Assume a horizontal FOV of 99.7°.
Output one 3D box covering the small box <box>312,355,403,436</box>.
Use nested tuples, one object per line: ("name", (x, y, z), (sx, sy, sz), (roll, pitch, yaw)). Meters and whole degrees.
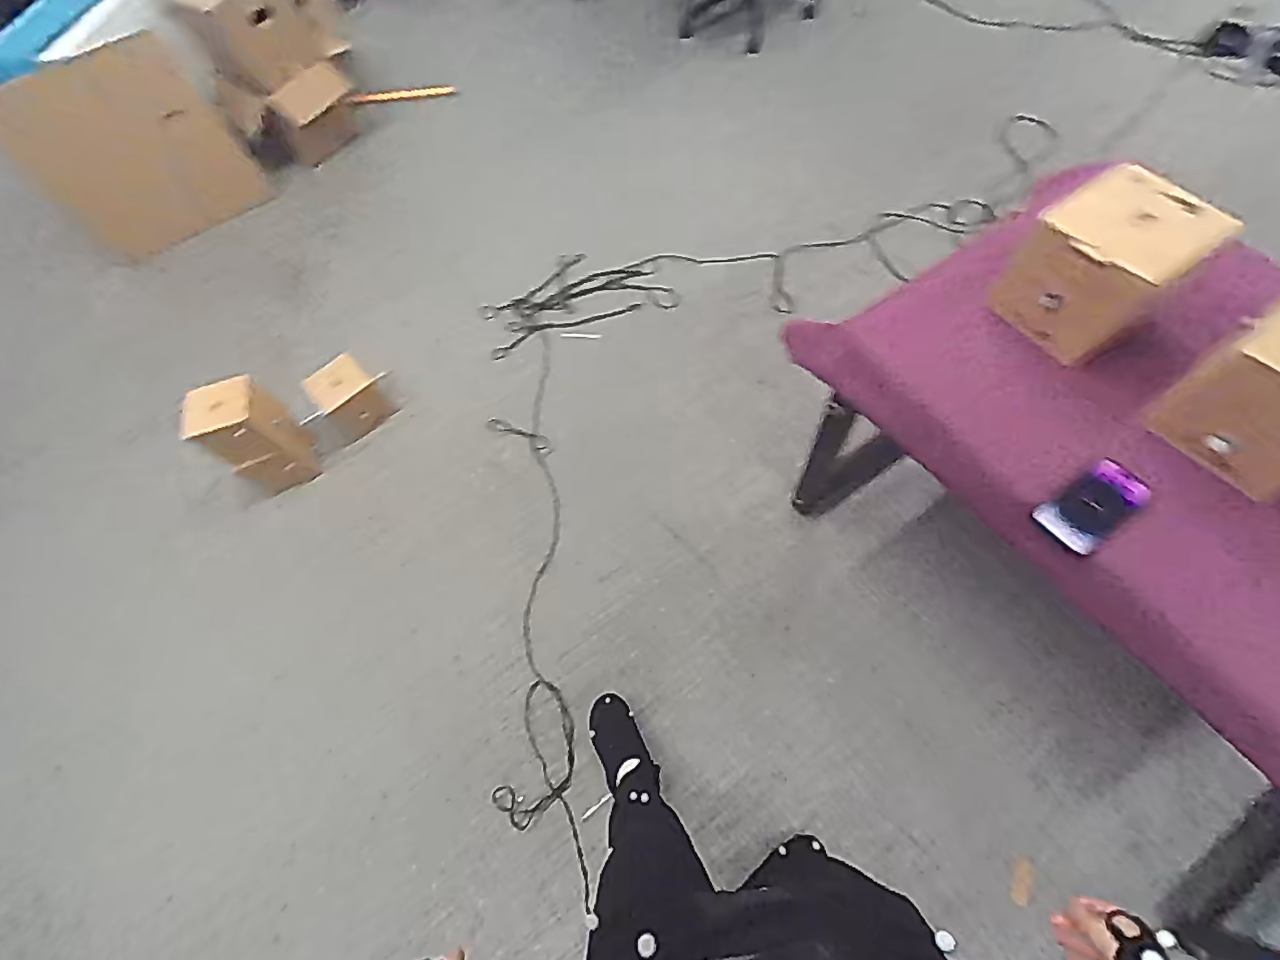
("small box", (-0.917, -0.267, 1.770), (0.168, 0.176, 0.179), (-40, 66, -12))

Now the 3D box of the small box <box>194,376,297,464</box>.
("small box", (-1.139, -0.169, 1.571), (0.179, 0.176, 0.168), (-18, 63, -3))

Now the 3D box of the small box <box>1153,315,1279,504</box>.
("small box", (0.811, -0.103, 0.669), (0.179, 0.176, 0.168), (-36, 65, -10))

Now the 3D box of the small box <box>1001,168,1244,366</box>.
("small box", (0.668, -0.299, 0.782), (0.179, 0.176, 0.168), (-31, 65, -8))
